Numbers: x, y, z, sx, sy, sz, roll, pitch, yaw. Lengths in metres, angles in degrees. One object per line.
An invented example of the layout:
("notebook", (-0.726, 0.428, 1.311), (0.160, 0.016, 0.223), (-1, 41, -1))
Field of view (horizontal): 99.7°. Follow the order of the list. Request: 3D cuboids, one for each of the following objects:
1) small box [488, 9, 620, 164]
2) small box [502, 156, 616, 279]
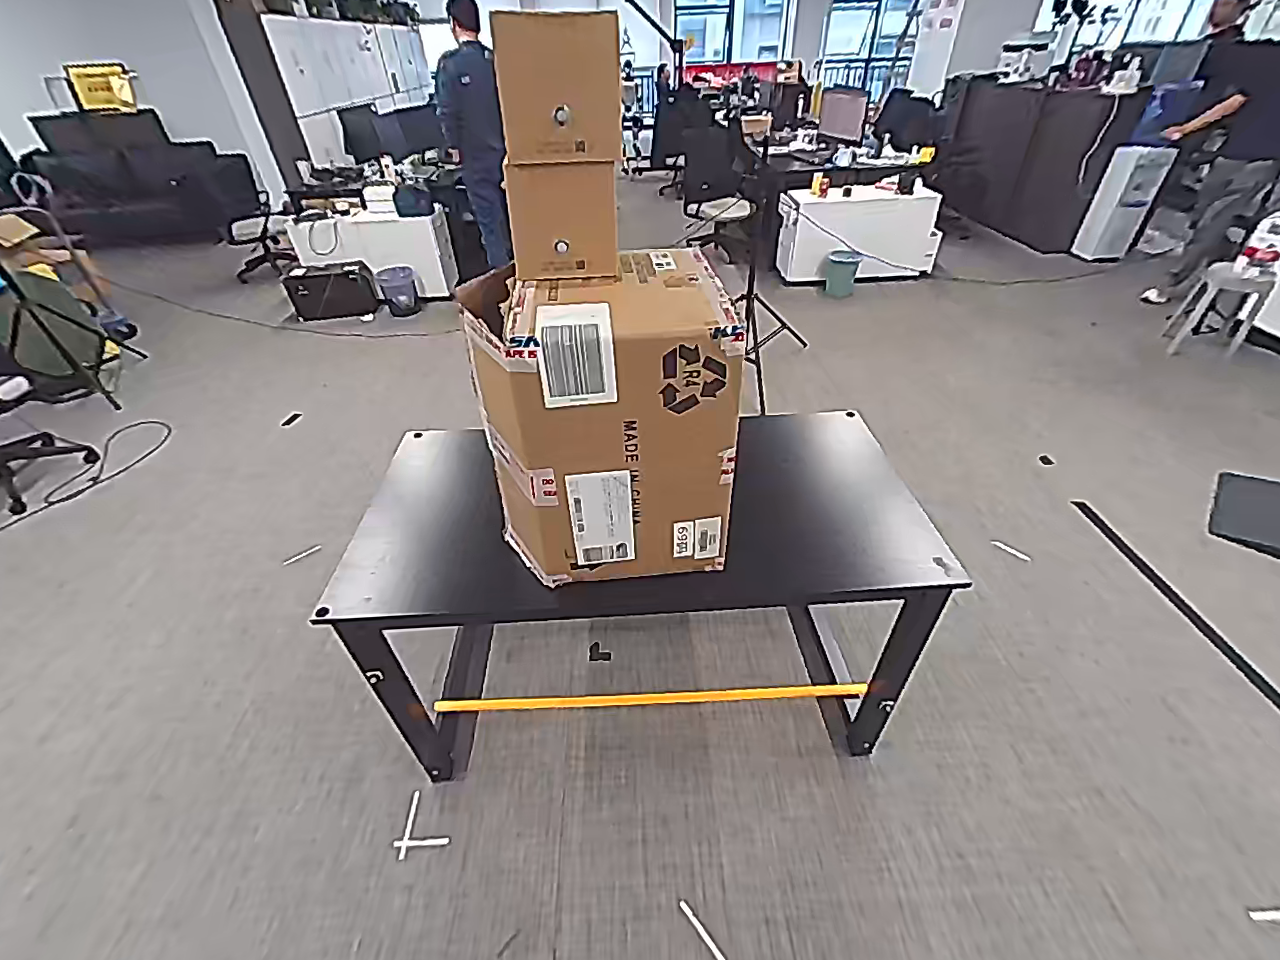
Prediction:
("small box", (-0.123, -0.571, 0.796), (0.168, 0.176, 0.179), (-7, 37, -7))
("small box", (-0.129, -0.443, 0.900), (0.168, 0.176, 0.179), (-5, 37, -6))
